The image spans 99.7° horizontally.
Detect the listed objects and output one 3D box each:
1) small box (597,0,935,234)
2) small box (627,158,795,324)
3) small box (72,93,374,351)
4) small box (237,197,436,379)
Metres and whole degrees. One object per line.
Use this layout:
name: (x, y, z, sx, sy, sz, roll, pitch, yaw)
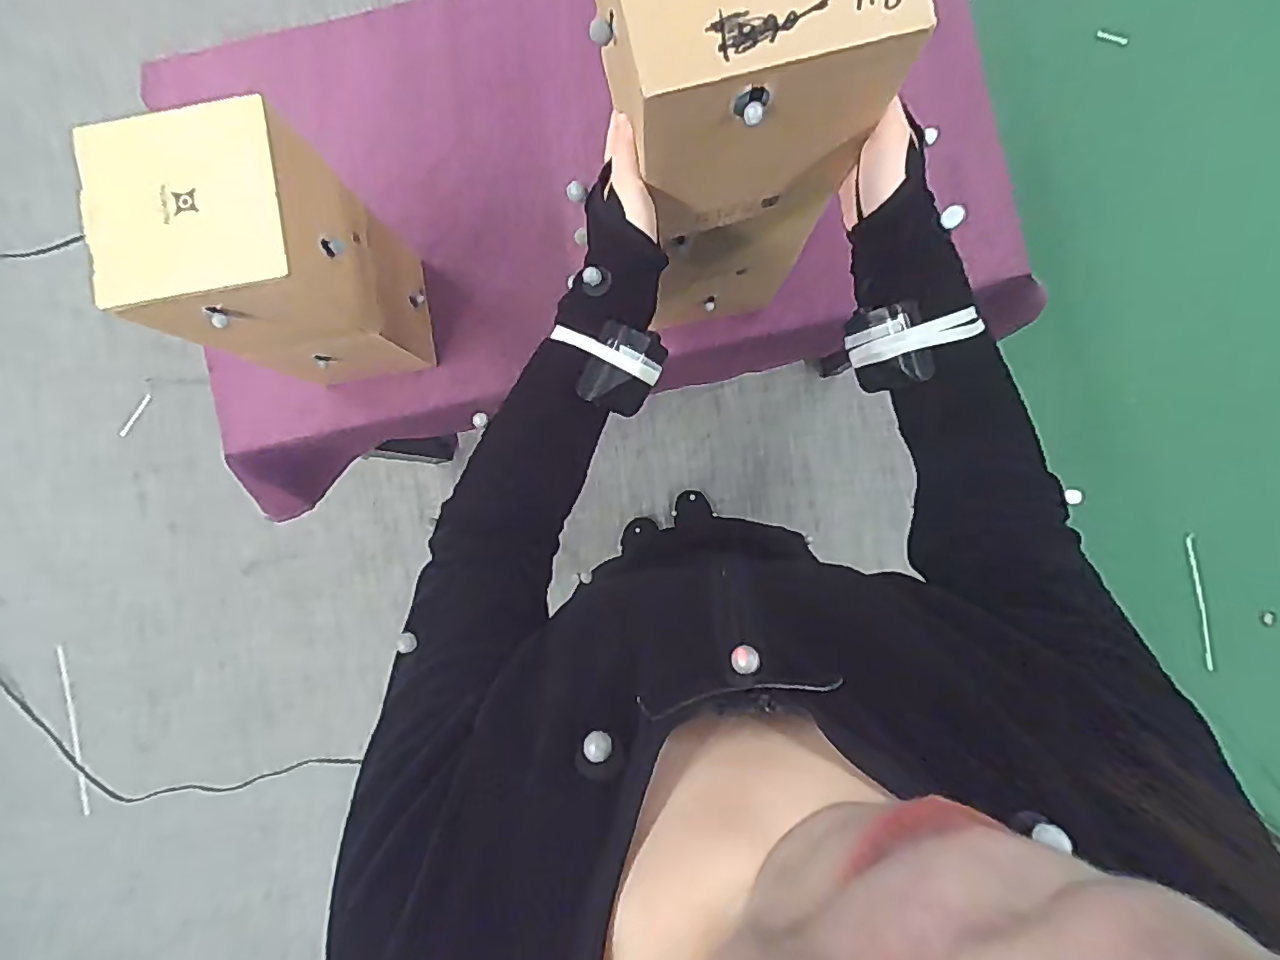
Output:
small box: (0.062, -0.306, 0.373, 0.168, 0.176, 0.179, -13, 88, 1)
small box: (0.083, -0.317, 0.702, 0.179, 0.176, 0.168, -10, 89, 2)
small box: (-0.396, -0.242, 0.549, 0.179, 0.176, 0.168, -10, 89, 2)
small box: (-0.396, -0.238, 0.713, 0.179, 0.176, 0.168, -9, 90, 1)
